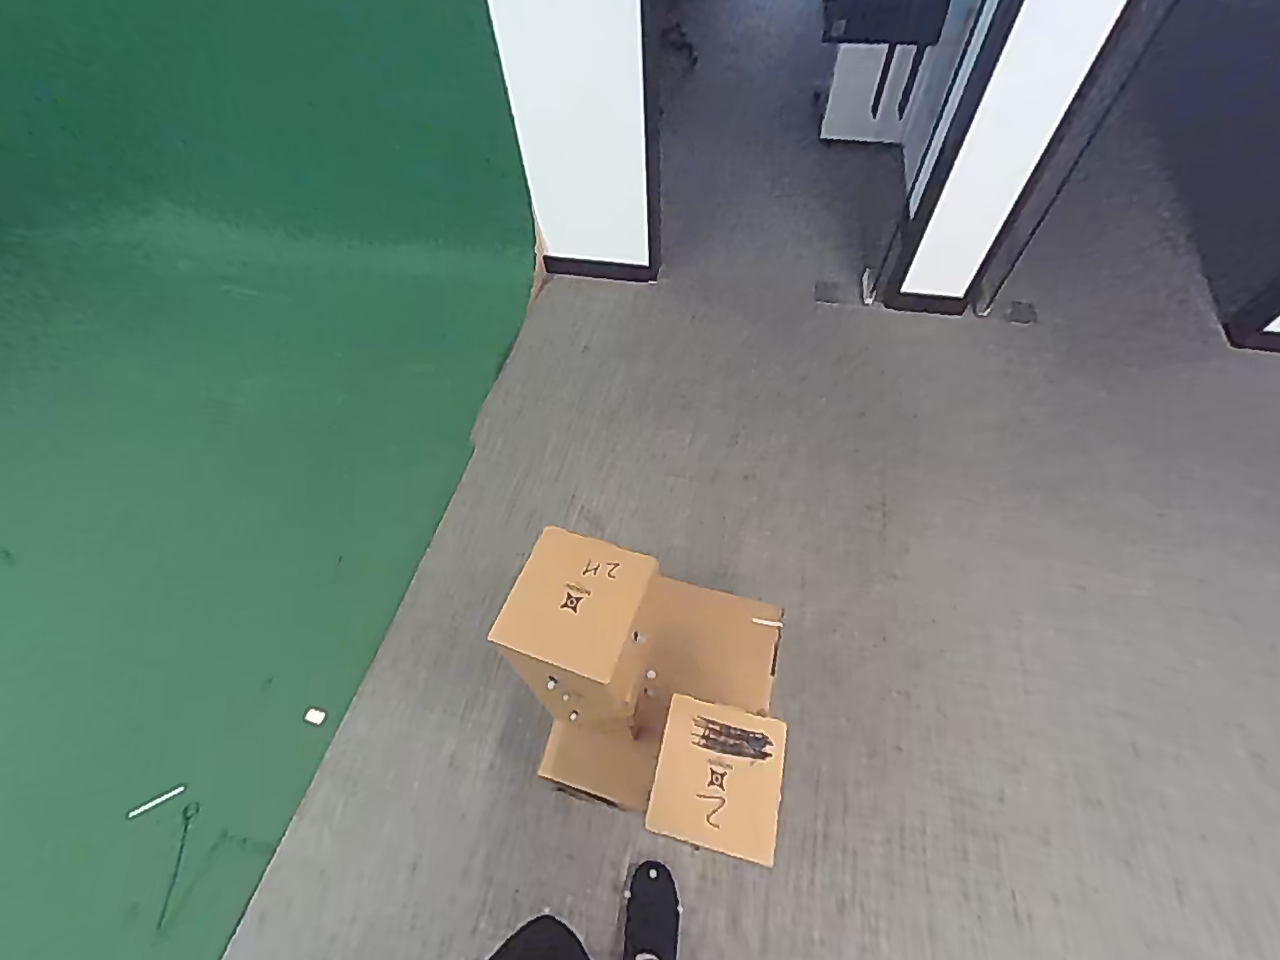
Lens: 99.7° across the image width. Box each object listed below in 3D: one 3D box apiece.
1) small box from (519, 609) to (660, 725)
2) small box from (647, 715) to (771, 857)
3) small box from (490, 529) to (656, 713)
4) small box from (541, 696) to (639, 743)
[{"bbox_3d":[-0.071,0.288,0.893,0.179,0.176,0.168,9,56,12],"label":"small box"},{"bbox_3d":[0.116,0.524,0.927,0.179,0.176,0.168,10,56,9],"label":"small box"},{"bbox_3d":[-0.078,0.202,0.756,0.168,0.176,0.179,16,58,13],"label":"small box"},{"bbox_3d":[-0.071,0.379,1.035,0.168,0.176,0.179,11,56,11],"label":"small box"}]
